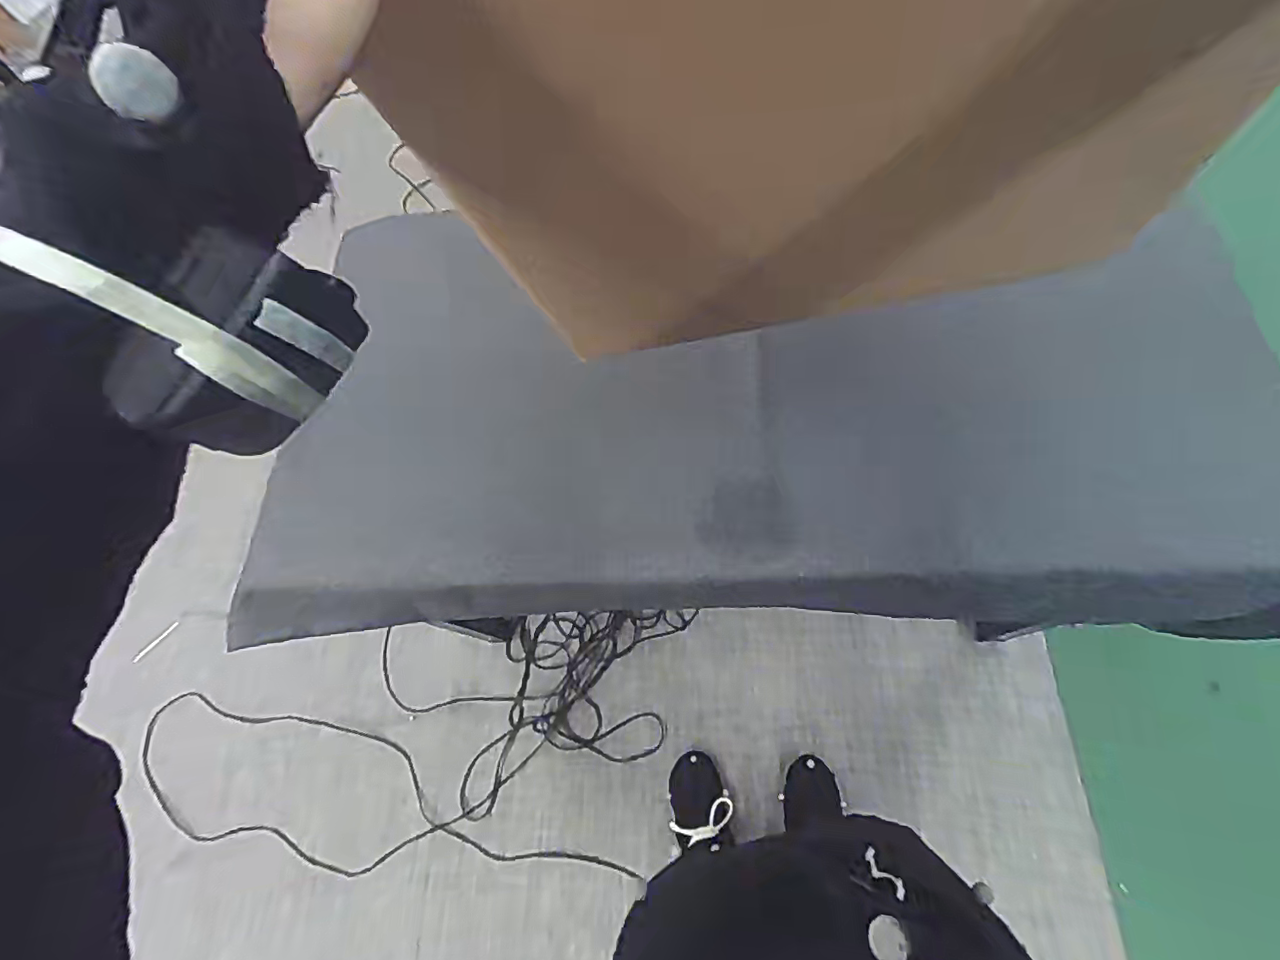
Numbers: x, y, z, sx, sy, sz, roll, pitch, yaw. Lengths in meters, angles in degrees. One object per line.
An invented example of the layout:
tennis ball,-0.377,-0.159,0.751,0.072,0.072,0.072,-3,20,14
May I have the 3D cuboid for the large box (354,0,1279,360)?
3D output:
large box,0.104,-0.308,0.329,0.408,0.320,0.320,-7,75,12
